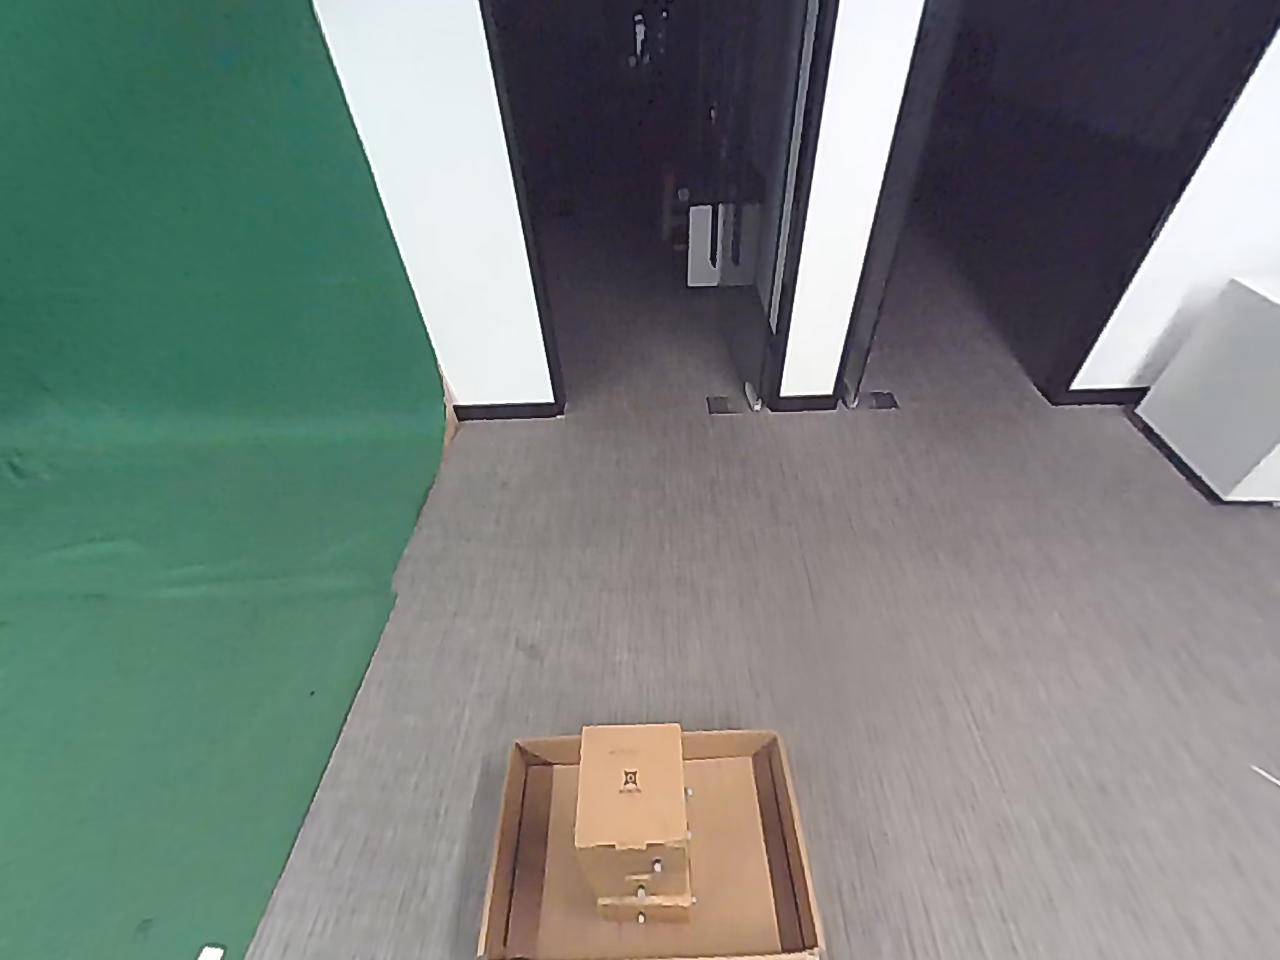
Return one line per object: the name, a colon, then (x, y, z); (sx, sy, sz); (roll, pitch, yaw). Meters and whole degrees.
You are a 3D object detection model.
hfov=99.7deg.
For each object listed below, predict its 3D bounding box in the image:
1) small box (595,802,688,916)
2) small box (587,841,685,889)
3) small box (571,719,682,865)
small box: (0.010, 0.783, 1.122); (0.179, 0.176, 0.168); (-2, 42, 4)
small box: (-0.006, 0.655, 1.026); (0.168, 0.176, 0.179); (-5, 42, 1)
small box: (-0.016, 0.522, 0.902); (0.168, 0.176, 0.179); (-2, 41, 1)
